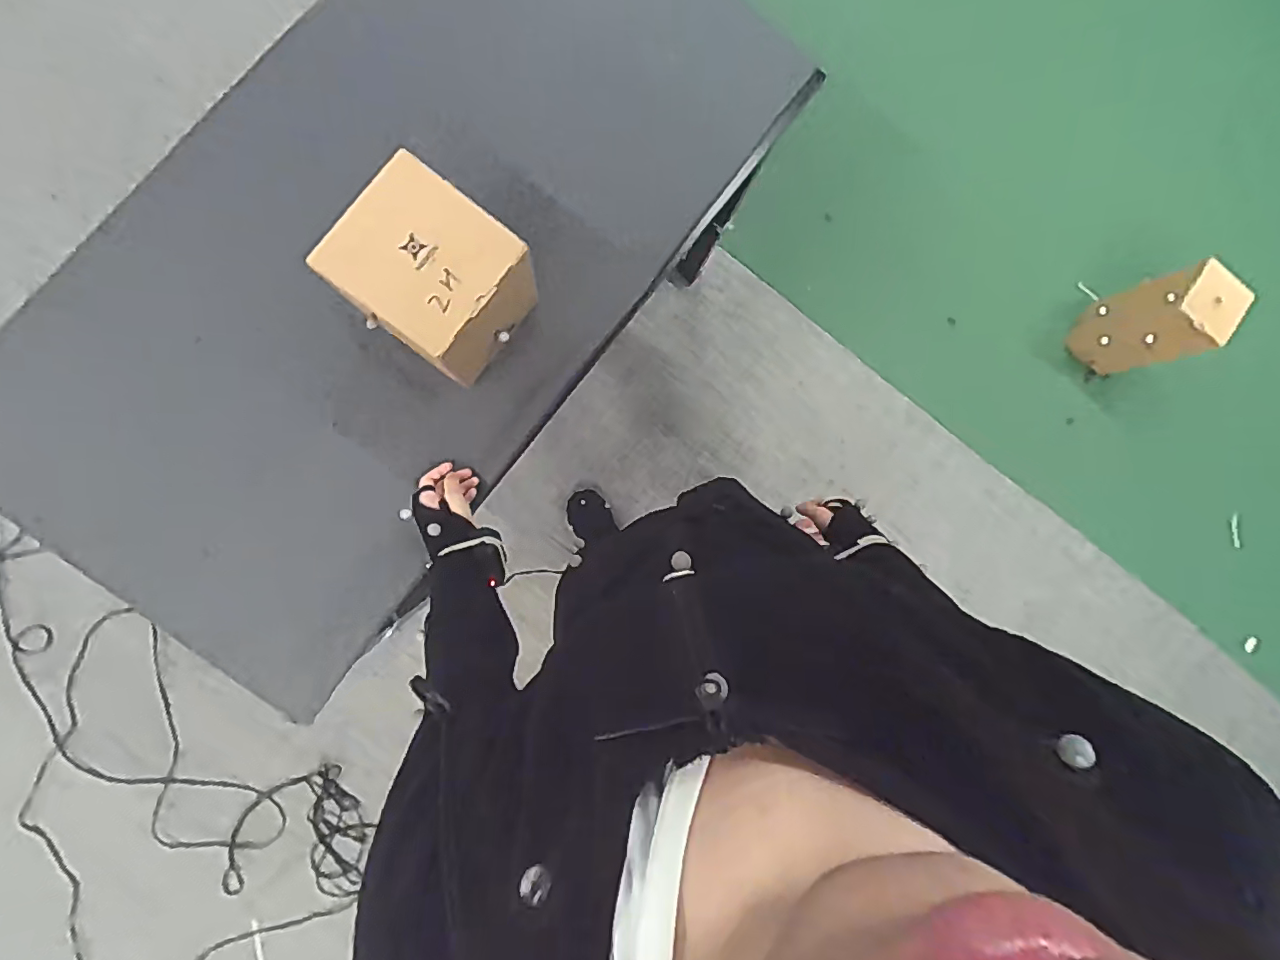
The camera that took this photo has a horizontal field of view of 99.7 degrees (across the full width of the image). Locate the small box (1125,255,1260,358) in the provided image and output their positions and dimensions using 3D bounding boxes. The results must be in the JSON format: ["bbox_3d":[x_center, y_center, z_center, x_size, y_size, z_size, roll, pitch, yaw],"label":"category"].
[{"bbox_3d":[1.474,-0.458,1.455,0.168,0.176,0.179,37,84,-5],"label":"small box"}]

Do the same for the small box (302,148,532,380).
[{"bbox_3d":[-0.254,-0.246,0.666,0.179,0.176,0.168,37,85,-4],"label":"small box"}]
